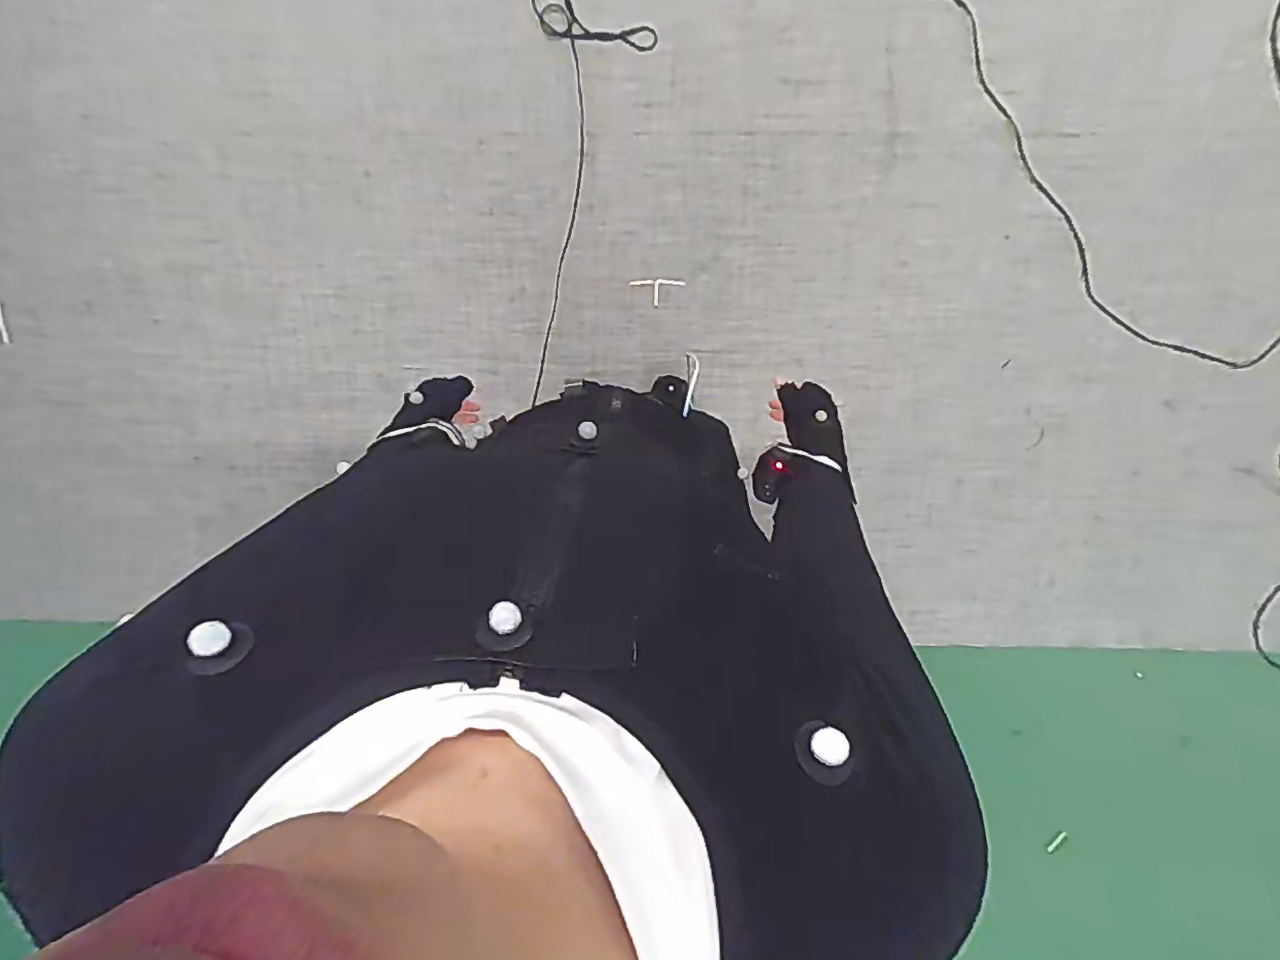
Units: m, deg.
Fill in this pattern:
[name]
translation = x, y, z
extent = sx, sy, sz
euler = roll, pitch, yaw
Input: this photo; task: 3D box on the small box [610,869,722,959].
[small box]
translation = 0.042, 0.764, 0.855
extent = 0.168, 0.176, 0.179
euler = 0, 103, 2
